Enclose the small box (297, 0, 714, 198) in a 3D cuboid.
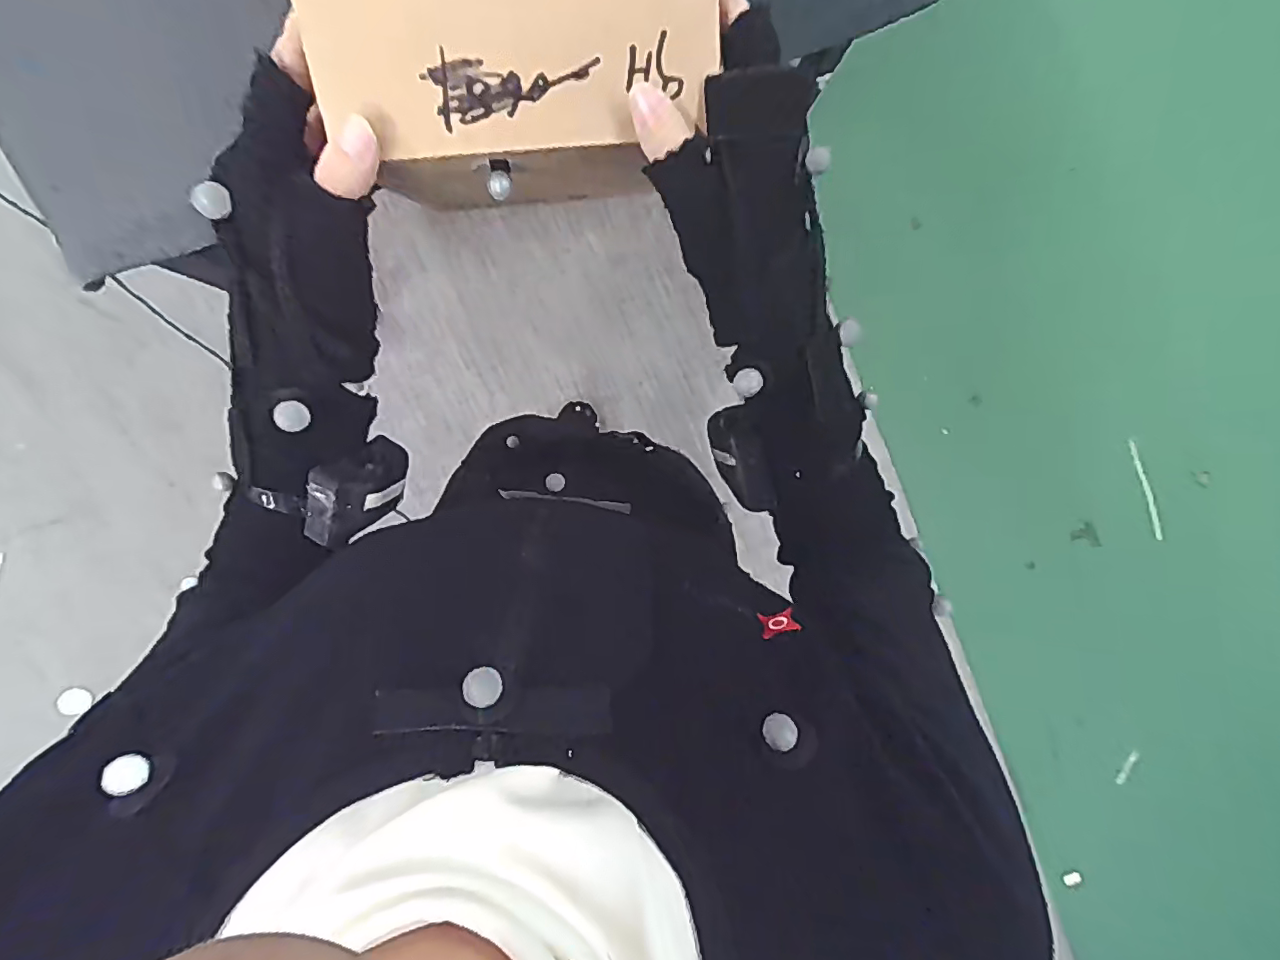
[{"bbox_3d":[-0.063,-0.258,0.275,0.168,0.176,0.179,-6,110,-4],"label":"small box"}]
